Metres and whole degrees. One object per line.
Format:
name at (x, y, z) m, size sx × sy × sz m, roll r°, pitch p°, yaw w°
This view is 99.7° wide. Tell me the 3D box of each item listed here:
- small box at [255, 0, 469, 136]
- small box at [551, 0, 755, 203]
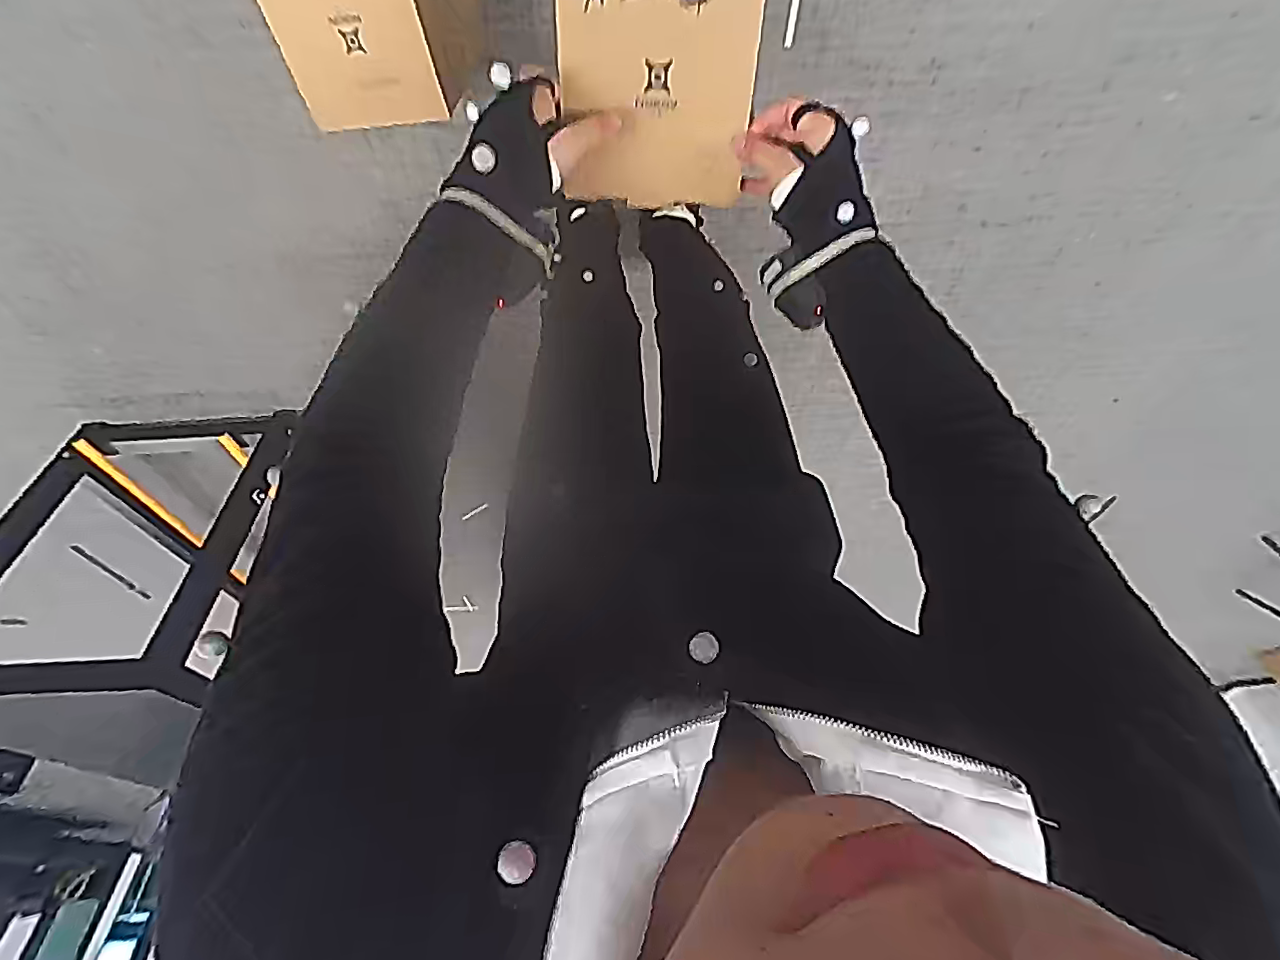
small box at (-0.320, -0.545, 0.643) m, size 0.168 × 0.176 × 0.179 m, roll -4°, pitch 142°, yaw 3°
small box at (0.011, -0.389, 0.527) m, size 0.168 × 0.176 × 0.179 m, roll 3°, pitch 128°, yaw 0°
